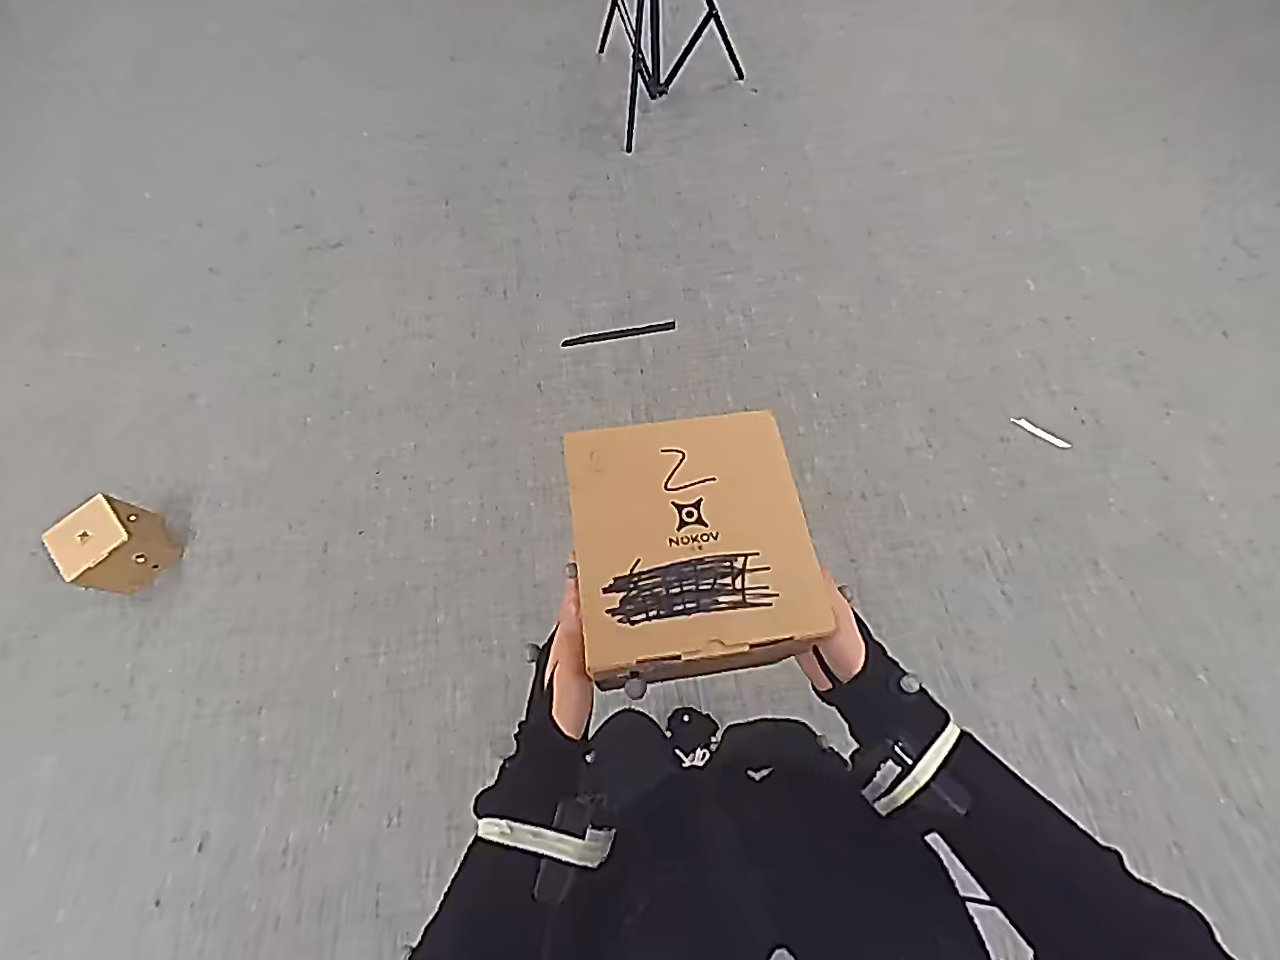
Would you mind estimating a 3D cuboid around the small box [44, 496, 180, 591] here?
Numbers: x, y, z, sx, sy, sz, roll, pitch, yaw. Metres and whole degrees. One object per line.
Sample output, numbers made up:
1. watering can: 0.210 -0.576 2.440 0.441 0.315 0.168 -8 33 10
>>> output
1. small box: -1.395 0.177 1.441 0.179 0.176 0.168 41 75 18
